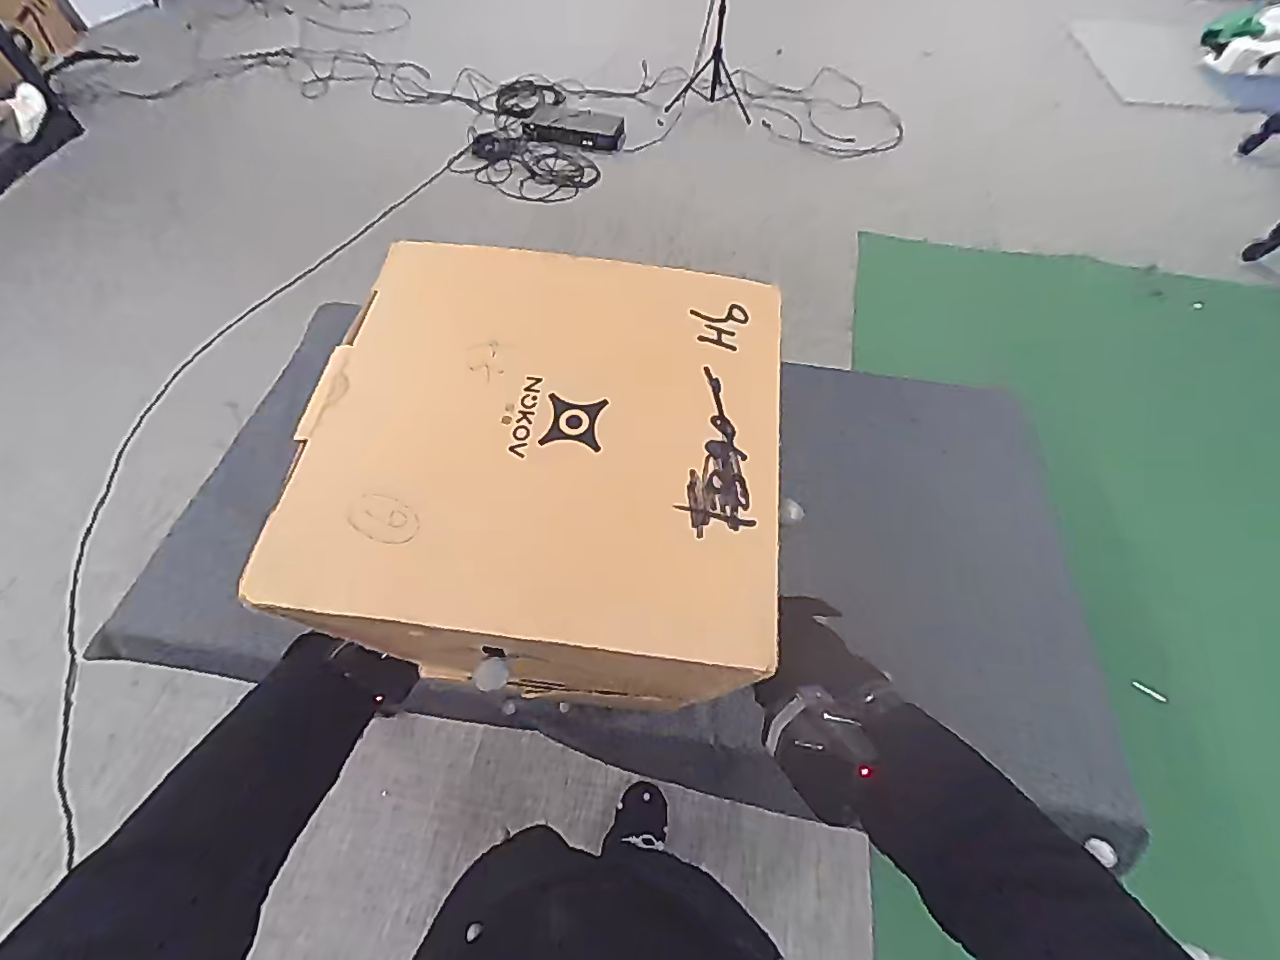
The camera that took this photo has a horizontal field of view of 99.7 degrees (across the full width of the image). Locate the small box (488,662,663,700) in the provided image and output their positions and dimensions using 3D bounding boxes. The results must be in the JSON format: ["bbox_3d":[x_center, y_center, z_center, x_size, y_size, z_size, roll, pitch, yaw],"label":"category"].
[{"bbox_3d":[-0.052,0.135,0.594,0.168,0.176,0.179,8,66,2],"label":"small box"}]

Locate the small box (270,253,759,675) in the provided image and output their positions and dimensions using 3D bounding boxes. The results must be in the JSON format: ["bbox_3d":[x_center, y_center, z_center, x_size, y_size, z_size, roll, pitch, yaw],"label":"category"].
[{"bbox_3d":[-0.041,0.006,0.296,0.179,0.176,0.168,5,63,-1],"label":"small box"}]
